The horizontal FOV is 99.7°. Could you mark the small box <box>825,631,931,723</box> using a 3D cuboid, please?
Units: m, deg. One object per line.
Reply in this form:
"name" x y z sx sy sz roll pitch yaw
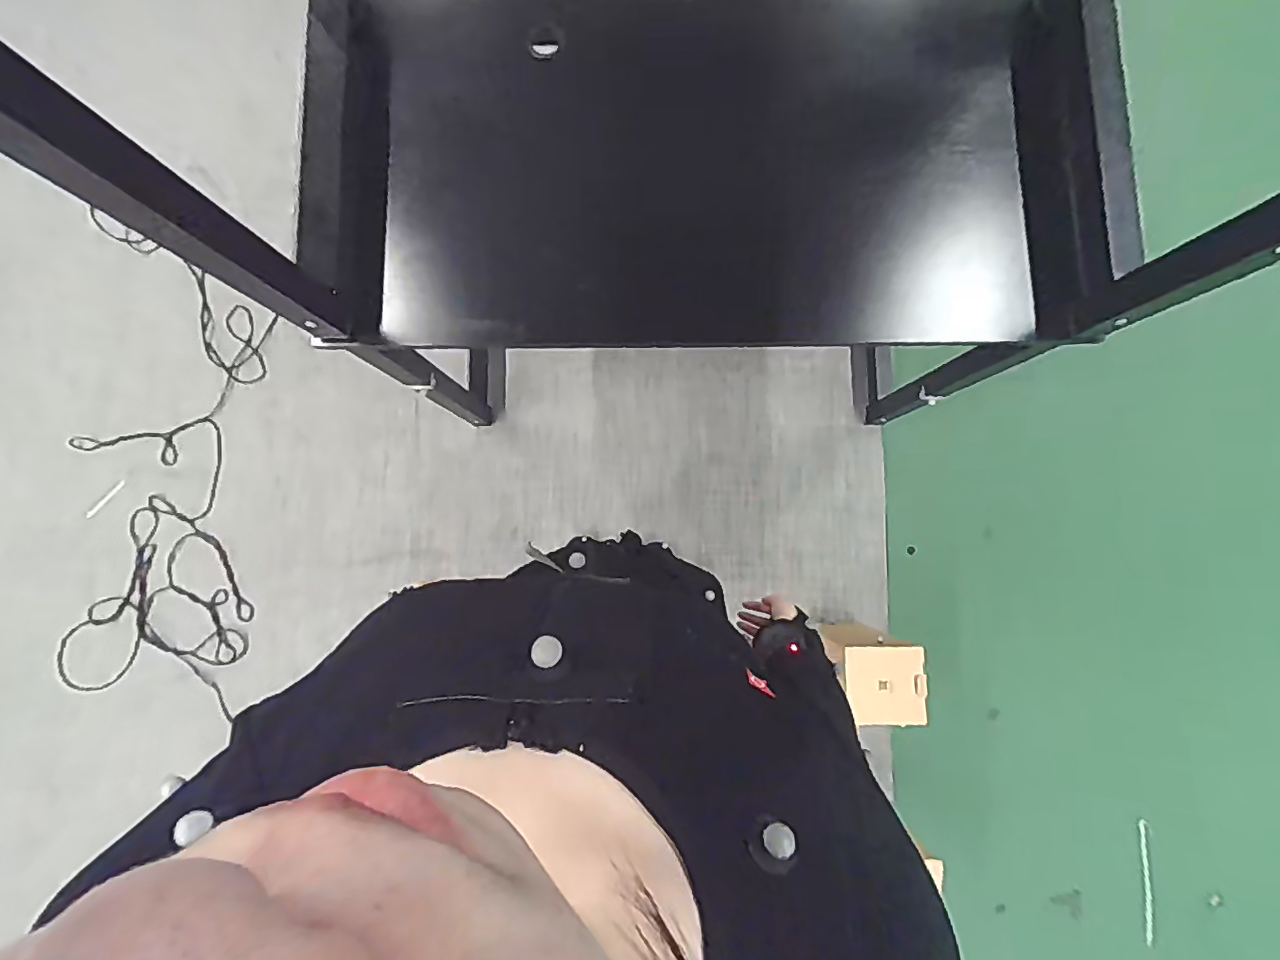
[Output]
"small box" 0.530 0.443 1.233 0.179 0.176 0.168 0 85 -1
